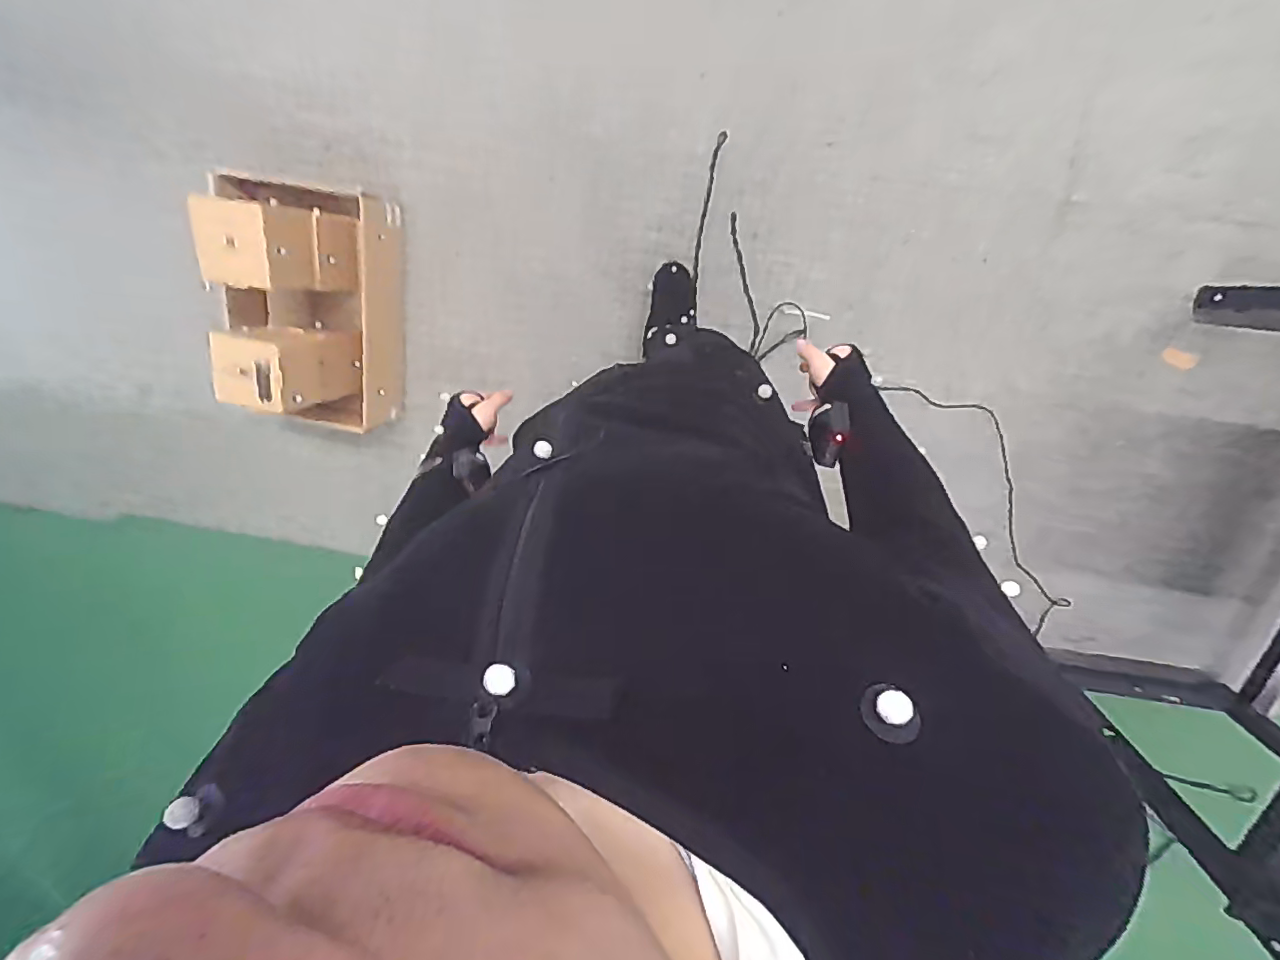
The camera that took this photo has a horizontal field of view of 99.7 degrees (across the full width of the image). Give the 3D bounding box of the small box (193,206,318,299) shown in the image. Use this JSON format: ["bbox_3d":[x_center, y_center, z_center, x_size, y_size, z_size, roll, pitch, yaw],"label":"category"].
[{"bbox_3d":[-0.886,-0.527,1.265,0.168,0.176,0.179,8,110,2],"label":"small box"}]
